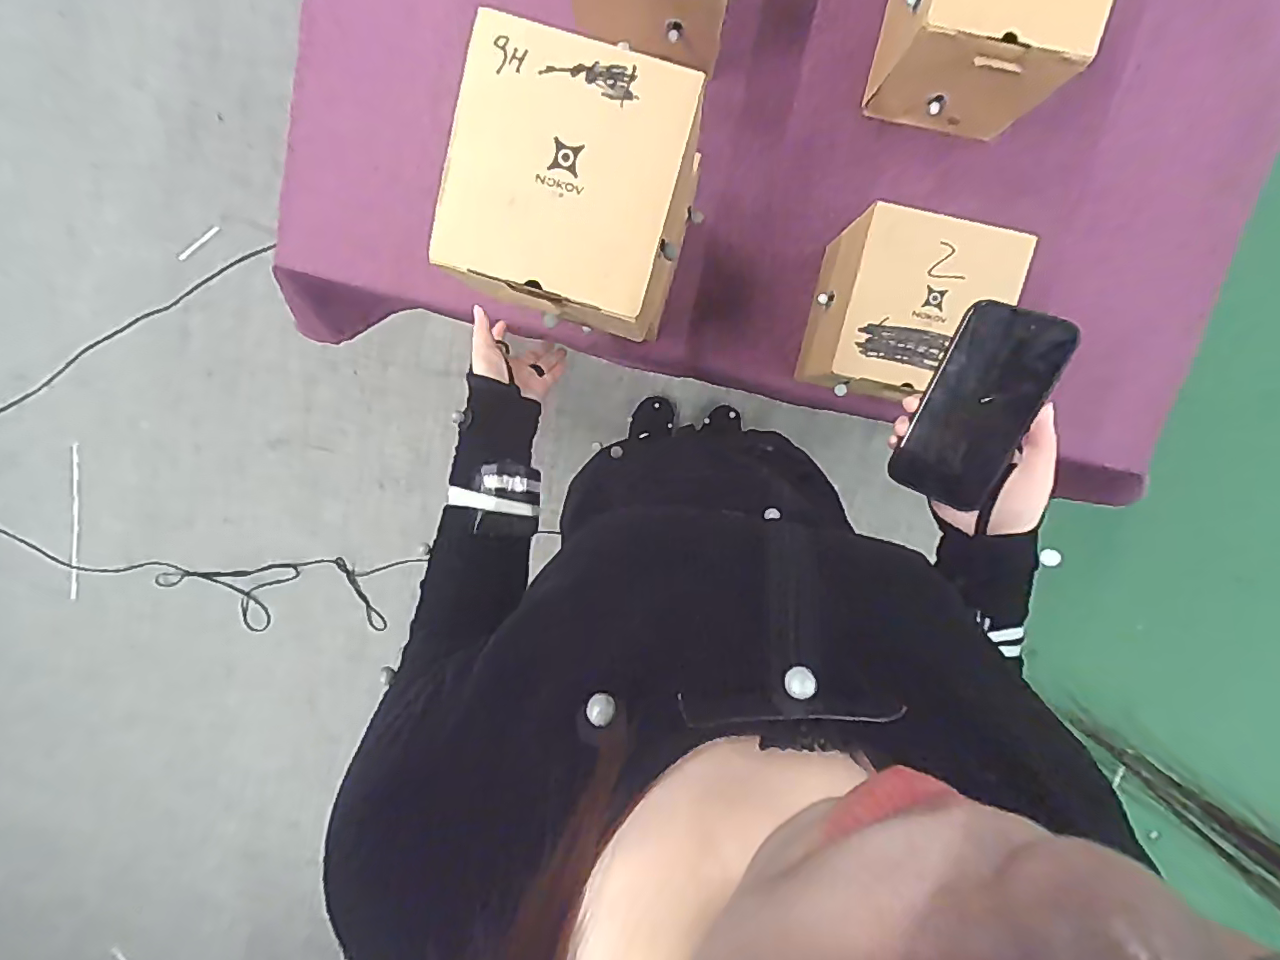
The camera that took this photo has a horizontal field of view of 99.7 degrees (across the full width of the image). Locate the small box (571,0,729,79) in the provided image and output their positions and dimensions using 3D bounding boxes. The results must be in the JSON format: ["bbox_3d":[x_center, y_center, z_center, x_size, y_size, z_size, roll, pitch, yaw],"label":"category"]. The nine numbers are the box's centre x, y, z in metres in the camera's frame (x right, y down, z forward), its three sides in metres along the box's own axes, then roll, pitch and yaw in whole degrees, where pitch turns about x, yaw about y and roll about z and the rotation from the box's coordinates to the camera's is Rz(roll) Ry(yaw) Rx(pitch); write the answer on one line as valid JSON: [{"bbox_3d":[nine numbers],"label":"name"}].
[{"bbox_3d":[0.023,-0.576,0.576,0.168,0.176,0.179,13,100,-1],"label":"small box"}]

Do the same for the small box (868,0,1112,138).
[{"bbox_3d":[0.366,-0.506,0.573,0.168,0.176,0.179,11,101,1],"label":"small box"}]

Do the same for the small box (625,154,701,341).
[{"bbox_3d":[-0.038,-0.274,0.628,0.168,0.176,0.179,16,99,0],"label":"small box"}]

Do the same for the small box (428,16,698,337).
[{"bbox_3d":[-0.055,-0.233,0.469,0.168,0.176,0.179,16,100,-1],"label":"small box"}]
